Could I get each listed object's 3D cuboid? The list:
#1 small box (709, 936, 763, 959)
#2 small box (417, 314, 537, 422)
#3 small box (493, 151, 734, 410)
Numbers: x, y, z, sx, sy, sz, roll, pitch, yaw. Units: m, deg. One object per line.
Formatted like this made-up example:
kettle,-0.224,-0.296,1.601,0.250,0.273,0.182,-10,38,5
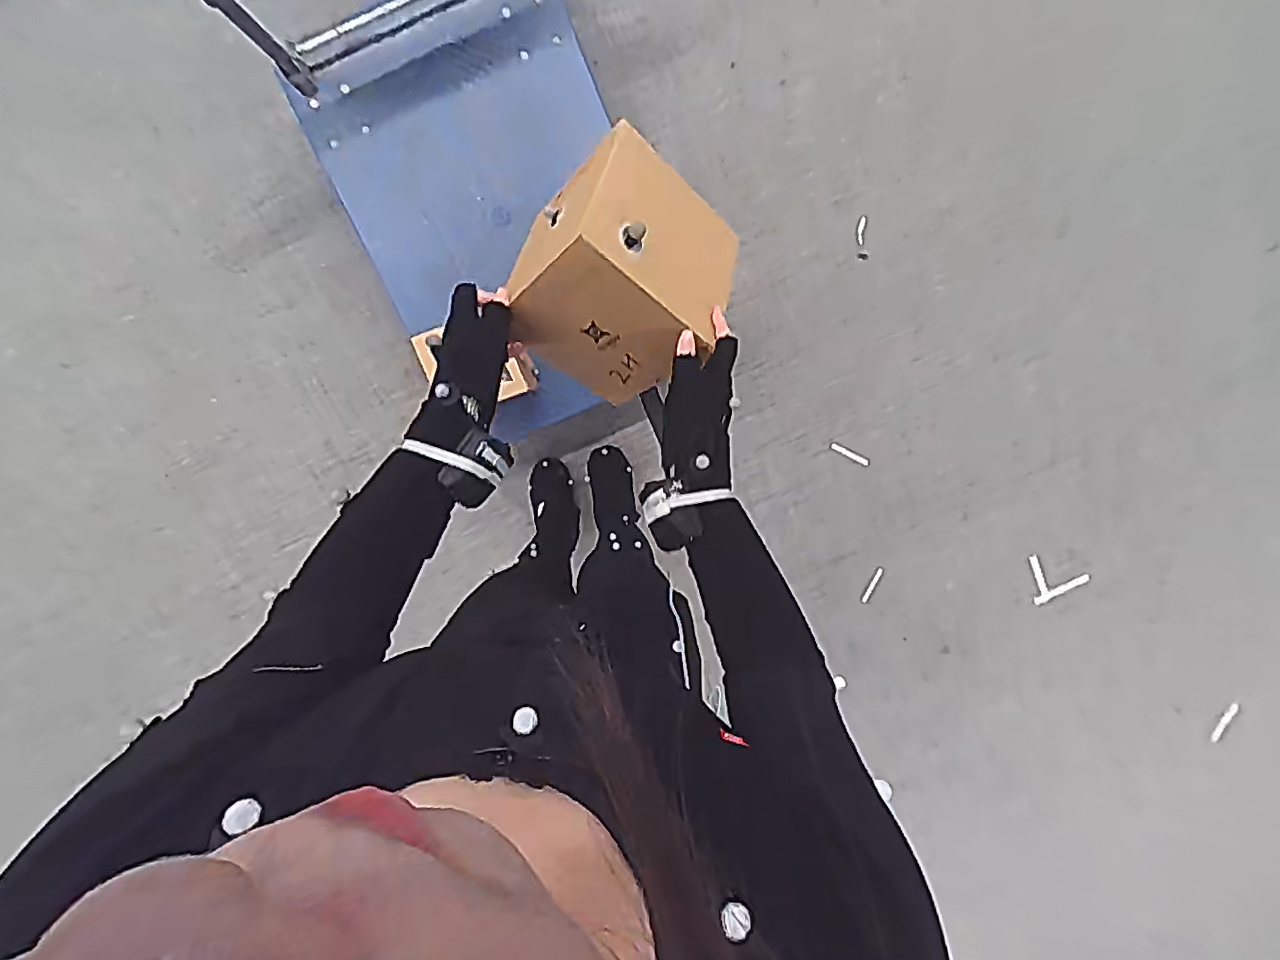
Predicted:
small box,0.332,1.626,1.748,0.168,0.176,0.179,-17,103,1
small box,-0.322,-0.231,1.118,0.179,0.176,0.168,-19,102,1
small box,-0.022,-0.208,0.579,0.179,0.168,0.176,30,61,-31
